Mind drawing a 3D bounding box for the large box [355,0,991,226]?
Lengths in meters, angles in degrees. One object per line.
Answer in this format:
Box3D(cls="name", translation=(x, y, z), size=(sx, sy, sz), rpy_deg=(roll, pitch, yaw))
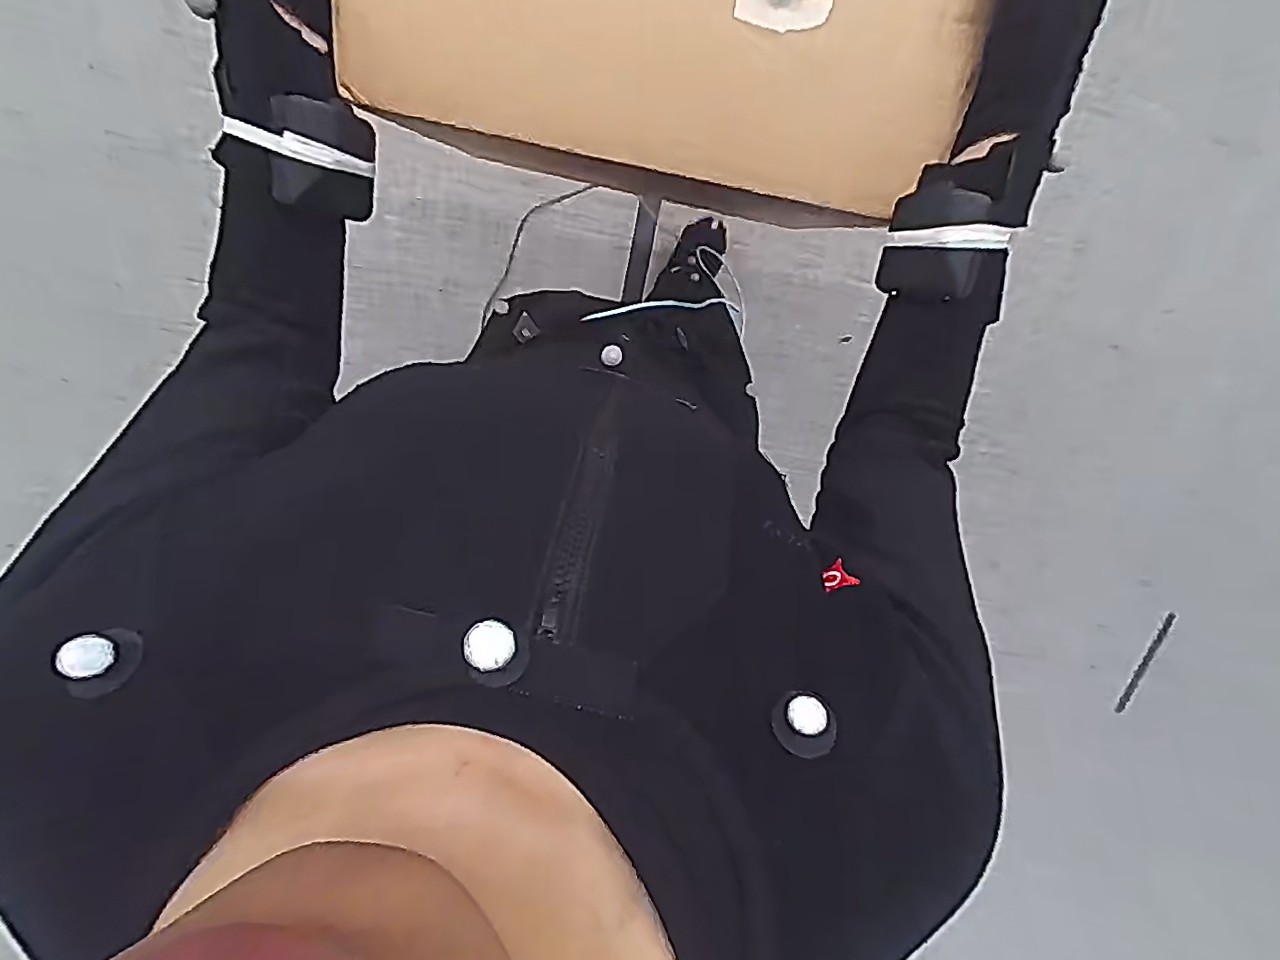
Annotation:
Box3D(cls="large box", translation=(0.029, -0.417, 0.452), size=(0.408, 0.320, 0.320), rpy_deg=(9, 115, -6))
